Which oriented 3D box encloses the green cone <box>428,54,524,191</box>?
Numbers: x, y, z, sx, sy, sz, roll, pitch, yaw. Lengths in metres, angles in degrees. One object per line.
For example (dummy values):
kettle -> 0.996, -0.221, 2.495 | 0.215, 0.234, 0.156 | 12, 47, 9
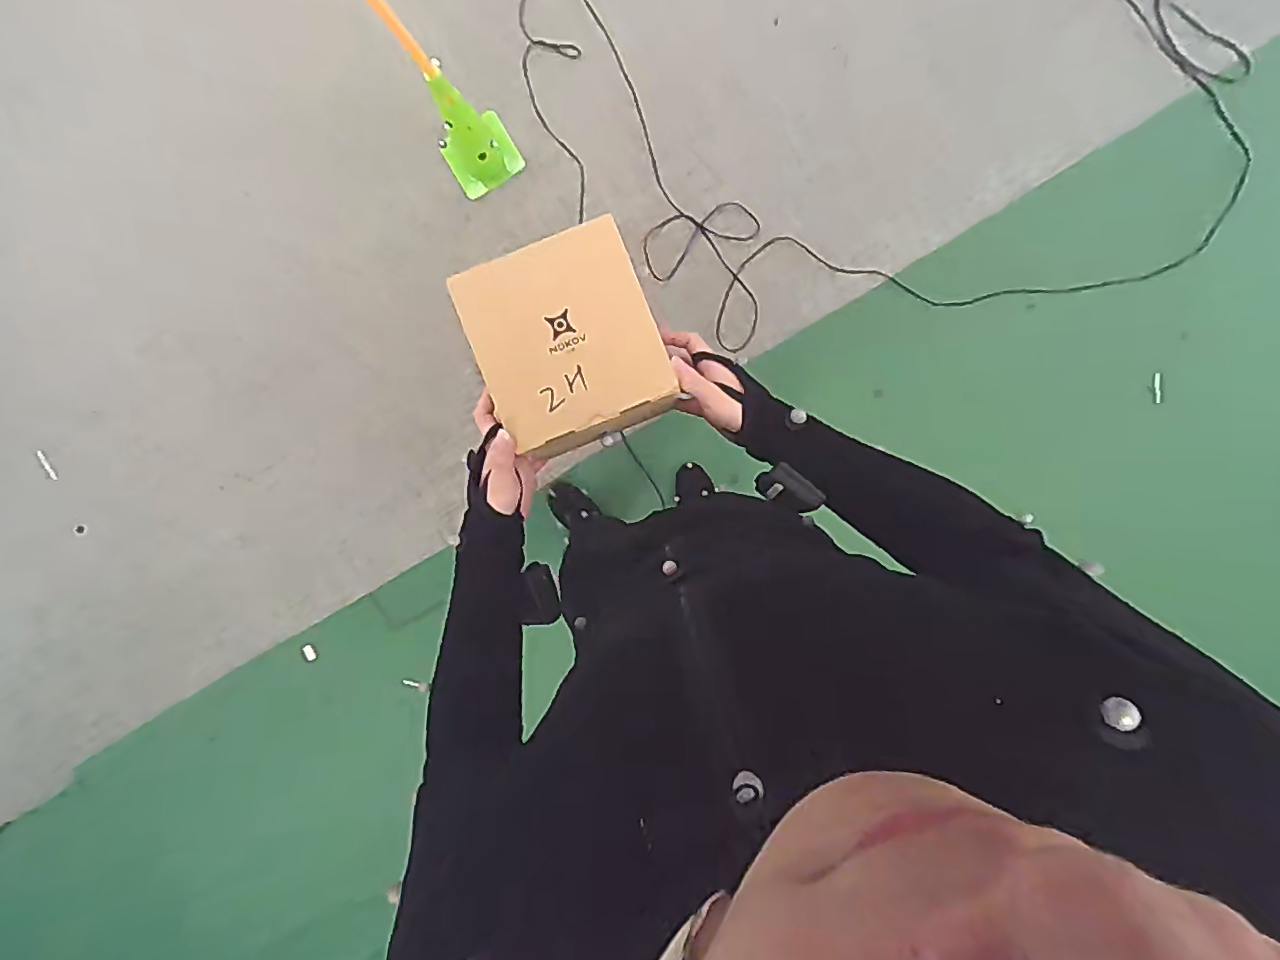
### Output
green cone -> -0.475, -0.980, 1.440 | 0.202, 0.368, 0.200 | -31, 92, 2
